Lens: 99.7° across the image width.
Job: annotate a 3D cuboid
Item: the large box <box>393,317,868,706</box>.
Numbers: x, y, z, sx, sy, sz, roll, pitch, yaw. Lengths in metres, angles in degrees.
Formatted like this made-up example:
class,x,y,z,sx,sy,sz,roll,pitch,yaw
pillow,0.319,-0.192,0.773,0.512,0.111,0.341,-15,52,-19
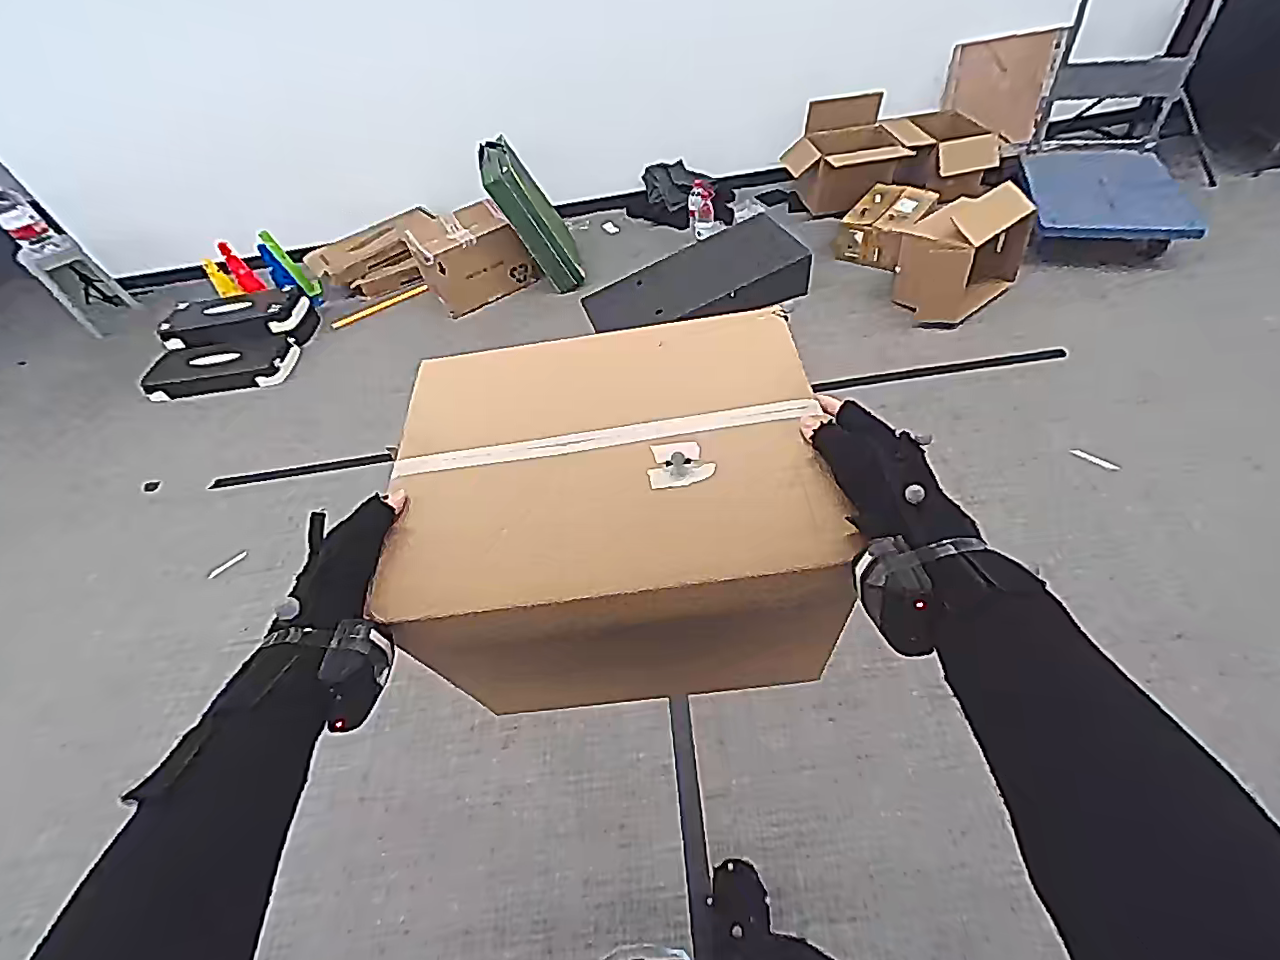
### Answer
class,x,y,z,sx,sy,sz,roll,pitch,yaw
large box,-0.009,0.051,0.647,0.408,0.320,0.320,-8,54,2
